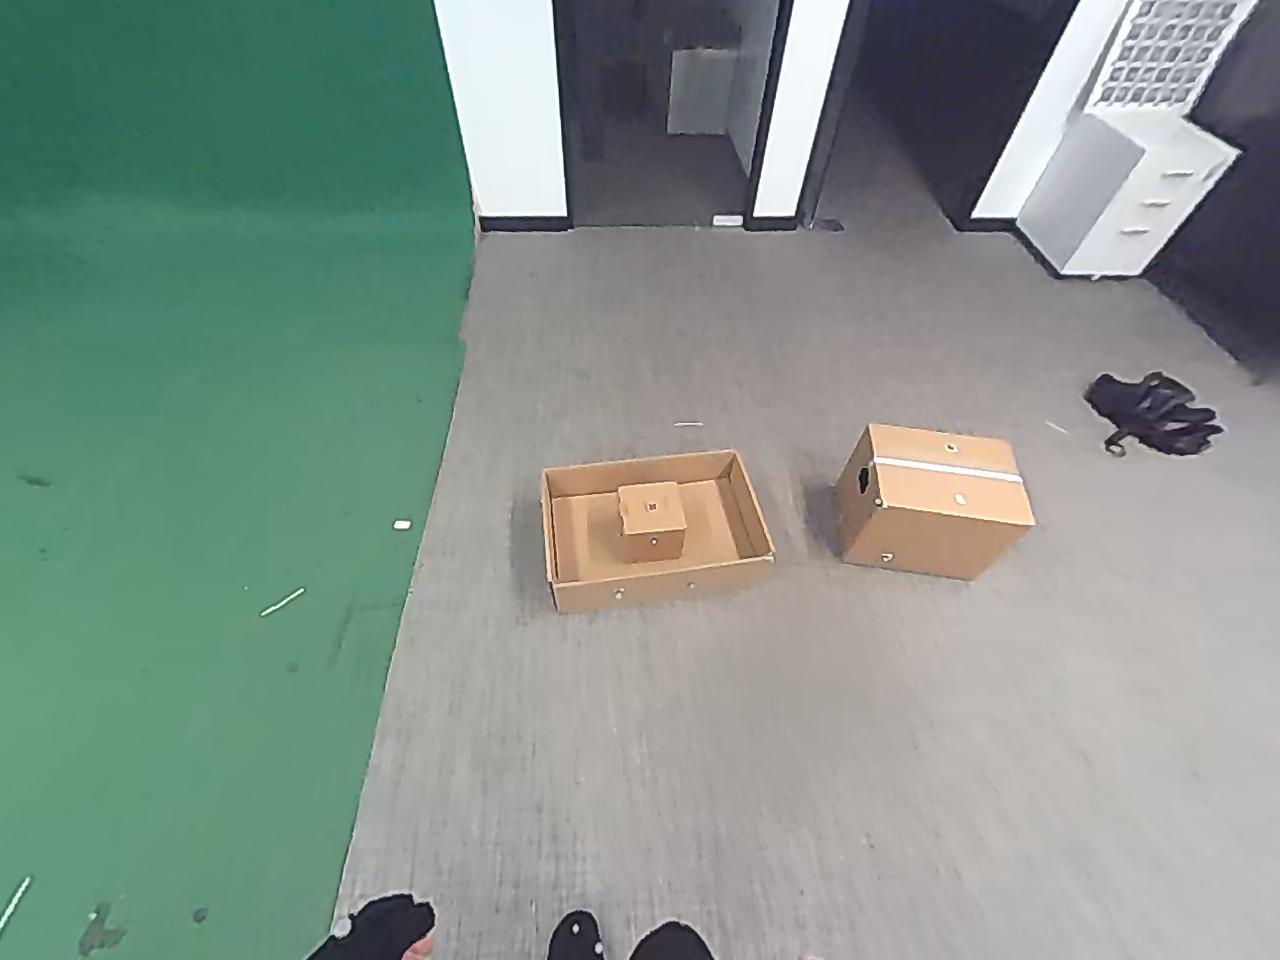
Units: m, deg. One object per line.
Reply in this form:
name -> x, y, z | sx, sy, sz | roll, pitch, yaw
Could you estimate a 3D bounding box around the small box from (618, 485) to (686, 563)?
small box -> 0.029, 0.133, 1.589 | 0.179, 0.176, 0.168 | -4, 53, -8
